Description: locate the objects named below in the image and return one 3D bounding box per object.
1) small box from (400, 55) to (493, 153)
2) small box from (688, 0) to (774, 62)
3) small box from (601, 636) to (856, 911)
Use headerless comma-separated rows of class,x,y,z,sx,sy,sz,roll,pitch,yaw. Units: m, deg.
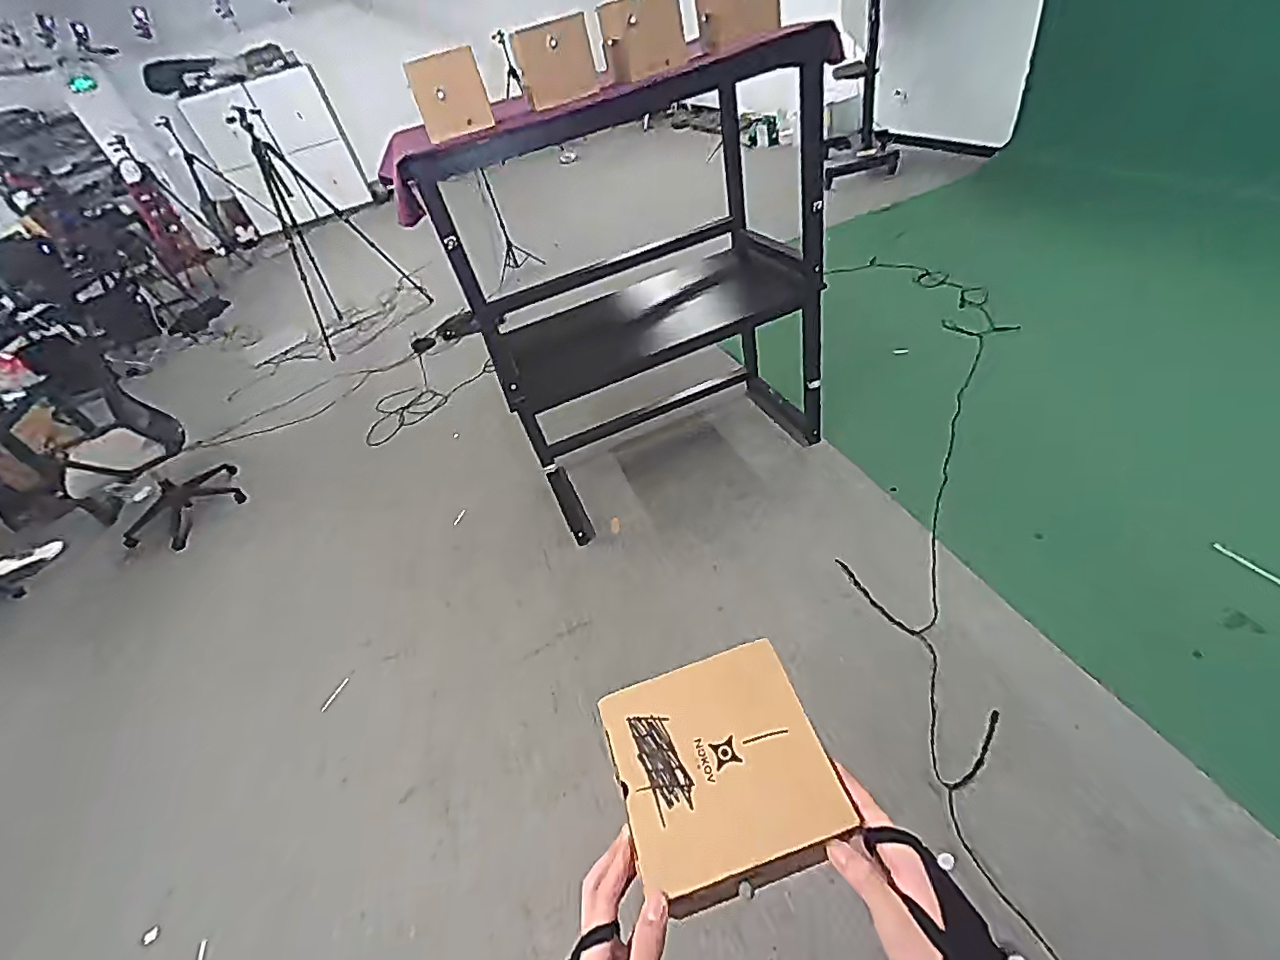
small box,-0.483,-0.947,1.368,0.168,0.176,0.179,-21,39,-5
small box,0.248,-1.259,1.465,0.179,0.176,0.168,-21,42,-4
small box,0.080,0.284,0.518,0.179,0.176,0.168,-19,48,-3
